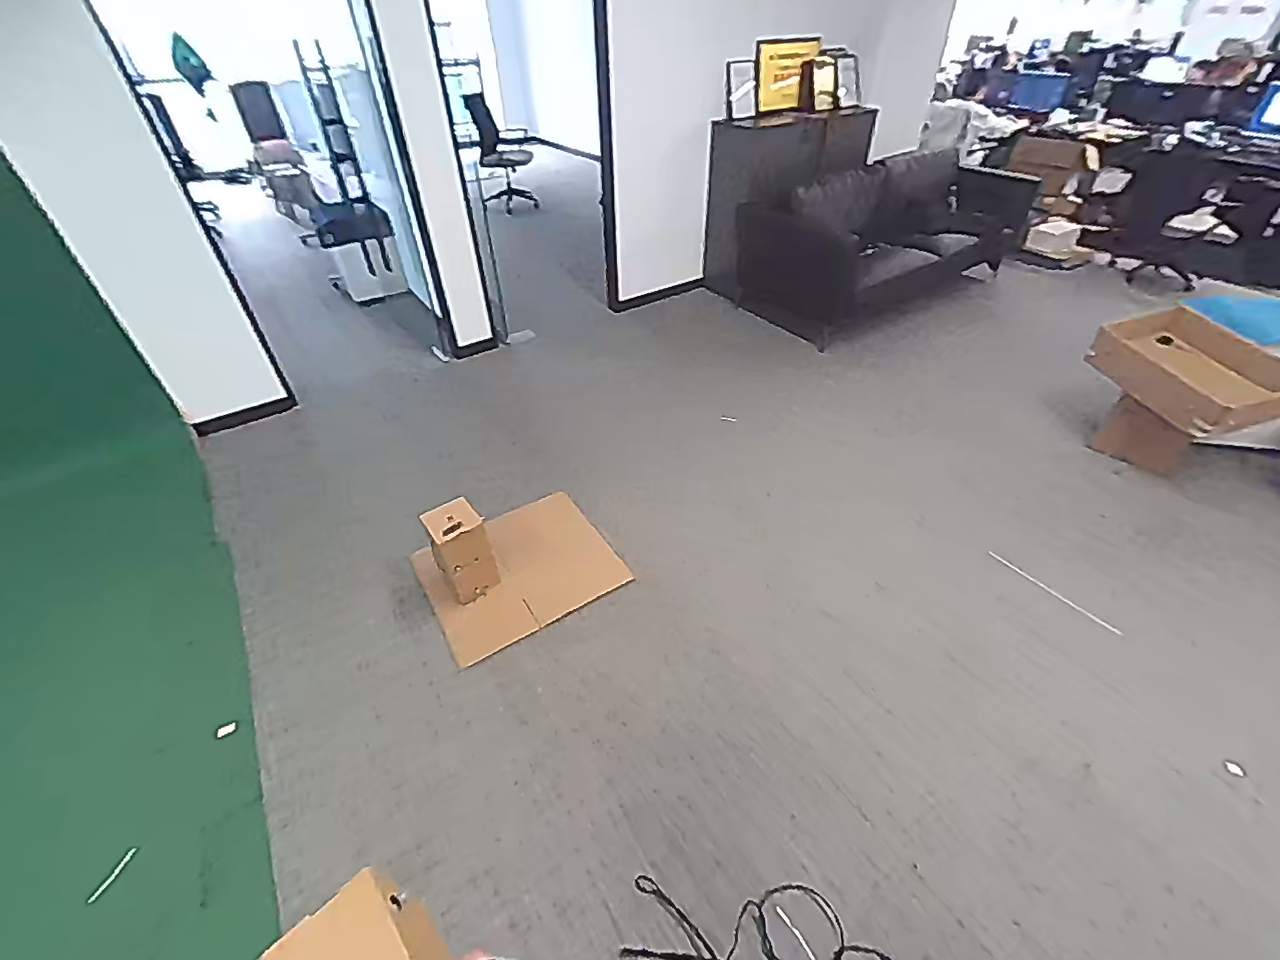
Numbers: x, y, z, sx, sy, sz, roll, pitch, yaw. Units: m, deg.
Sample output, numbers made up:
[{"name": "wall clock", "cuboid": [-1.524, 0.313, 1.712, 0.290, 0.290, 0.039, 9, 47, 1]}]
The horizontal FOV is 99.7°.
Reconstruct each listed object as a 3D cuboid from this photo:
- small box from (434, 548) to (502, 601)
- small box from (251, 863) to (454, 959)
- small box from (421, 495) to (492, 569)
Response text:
[{"name": "small box", "cuboid": [-0.638, 0.314, 2.009, 0.168, 0.176, 0.179, -30, 49, -29]}, {"name": "small box", "cuboid": [-0.274, 0.530, 0.523, 0.168, 0.176, 0.179, -34, 47, -29]}, {"name": "small box", "cuboid": [-0.641, 0.191, 1.902, 0.168, 0.176, 0.179, -28, 47, -27]}]
